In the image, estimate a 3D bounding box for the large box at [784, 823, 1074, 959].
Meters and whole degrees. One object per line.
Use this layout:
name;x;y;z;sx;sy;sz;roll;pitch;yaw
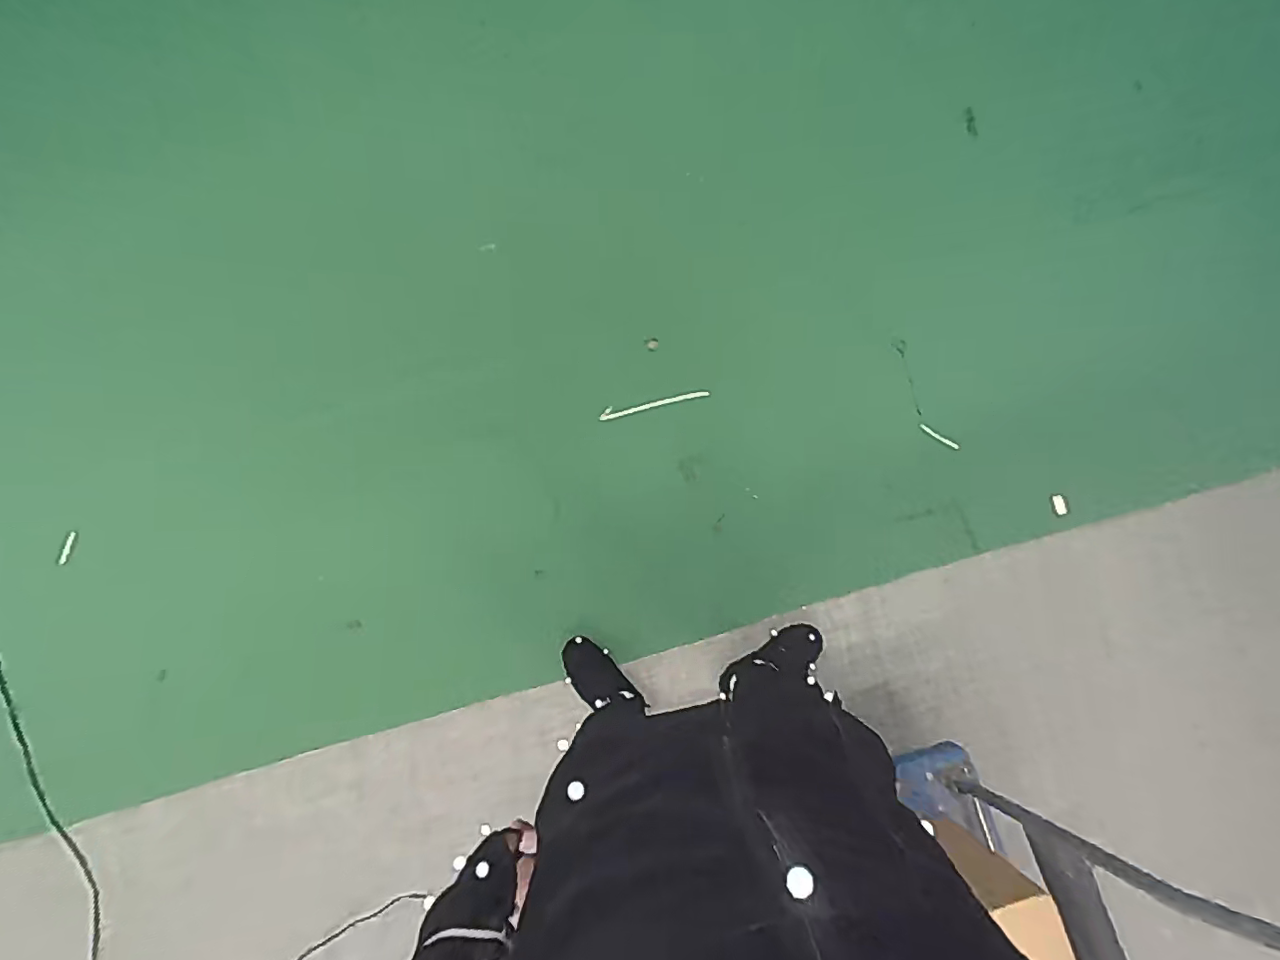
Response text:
large box;0.540;0.924;1.018;0.408;0.320;0.320;-14;80;-3
